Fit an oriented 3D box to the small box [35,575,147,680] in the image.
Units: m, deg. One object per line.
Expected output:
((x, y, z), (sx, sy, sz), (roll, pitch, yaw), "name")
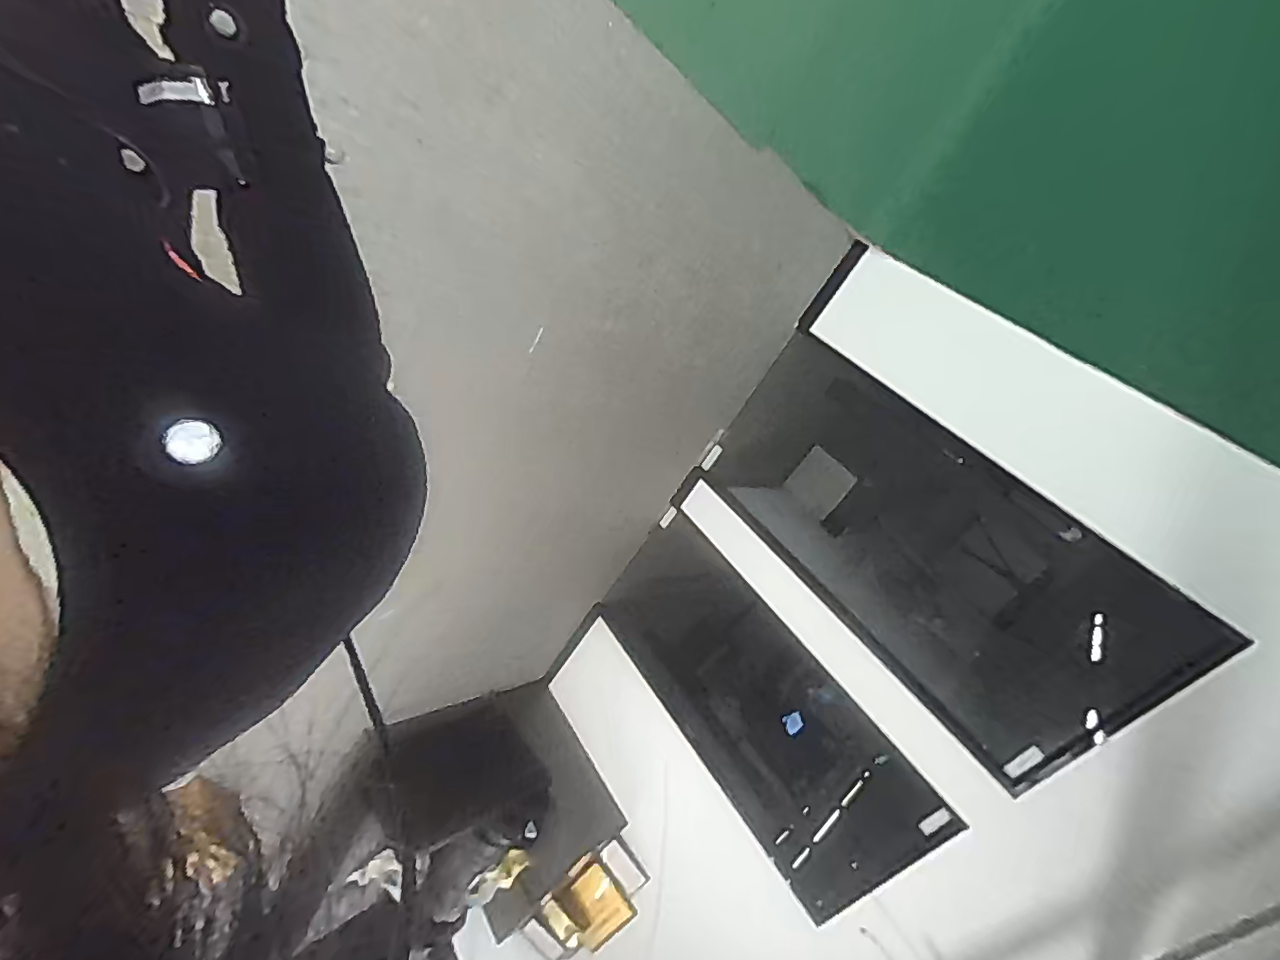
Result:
((-1.328, 0.346, 1.307), (0.179, 0.176, 0.168), (2, 128, -49), "small box")
